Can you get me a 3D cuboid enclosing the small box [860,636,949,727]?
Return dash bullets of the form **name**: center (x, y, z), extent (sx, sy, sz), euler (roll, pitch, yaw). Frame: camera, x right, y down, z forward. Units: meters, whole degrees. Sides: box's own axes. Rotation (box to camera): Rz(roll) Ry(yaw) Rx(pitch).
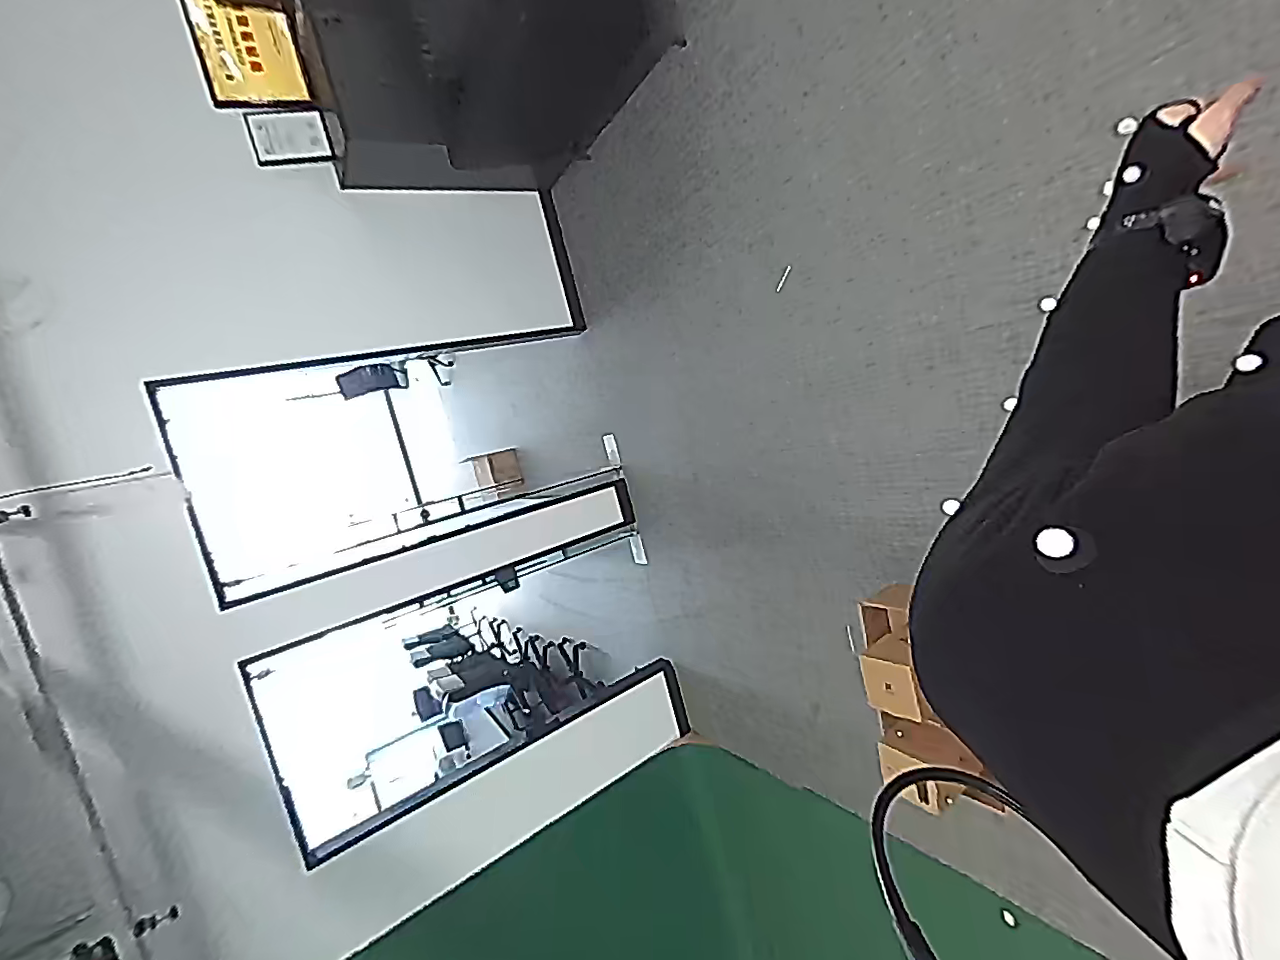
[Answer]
- **small box**: center (0.797, 0.596, 1.621), extent (0.168, 0.176, 0.179), euler (-5, 100, 57)
